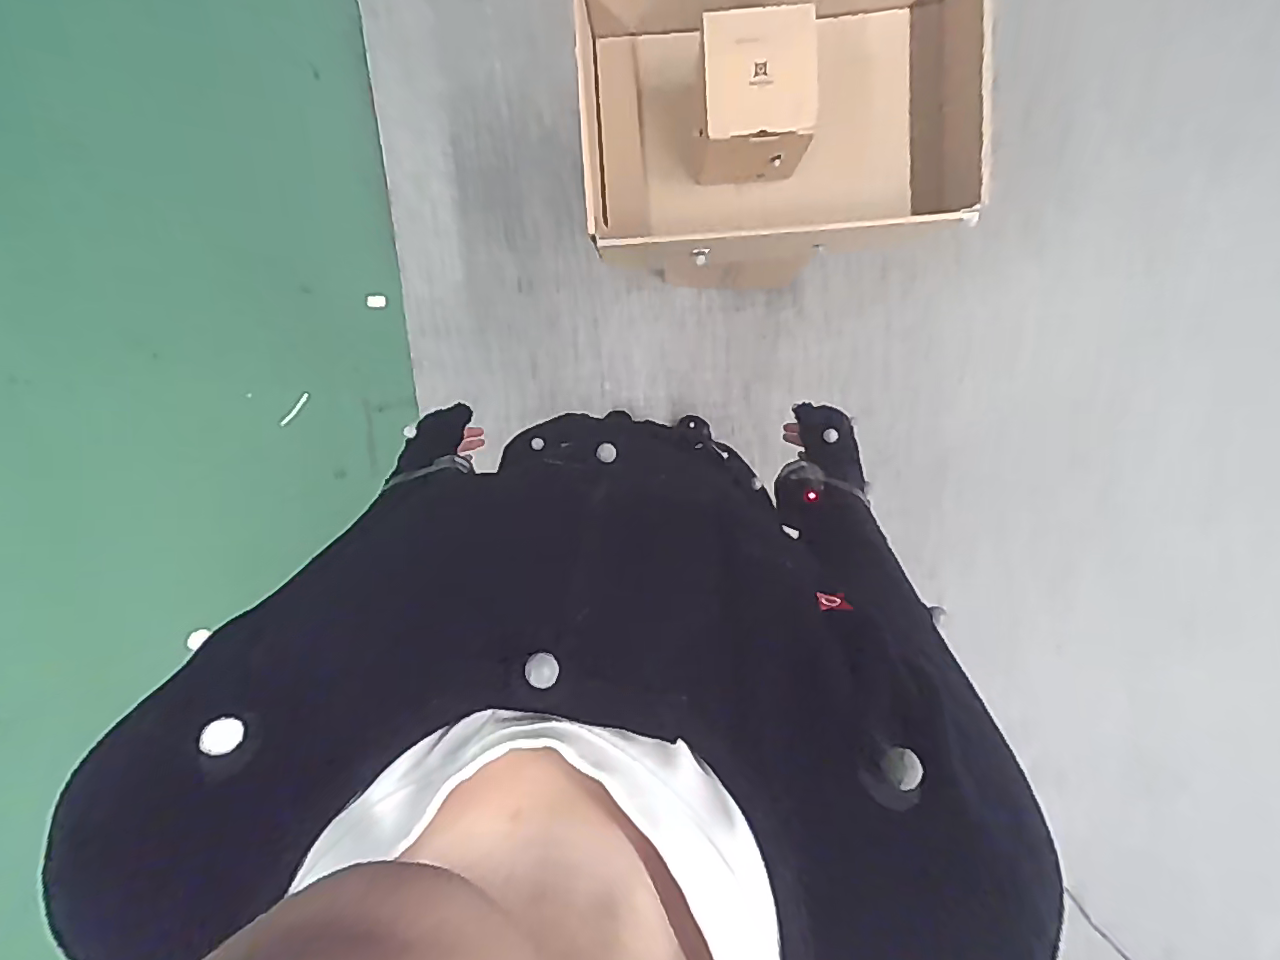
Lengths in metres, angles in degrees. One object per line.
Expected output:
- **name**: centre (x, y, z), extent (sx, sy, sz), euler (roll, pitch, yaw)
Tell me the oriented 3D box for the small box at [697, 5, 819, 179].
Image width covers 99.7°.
- **small box**: centre (0.183, -0.609, 0.875), extent (0.168, 0.176, 0.179), euler (-4, 95, 1)
